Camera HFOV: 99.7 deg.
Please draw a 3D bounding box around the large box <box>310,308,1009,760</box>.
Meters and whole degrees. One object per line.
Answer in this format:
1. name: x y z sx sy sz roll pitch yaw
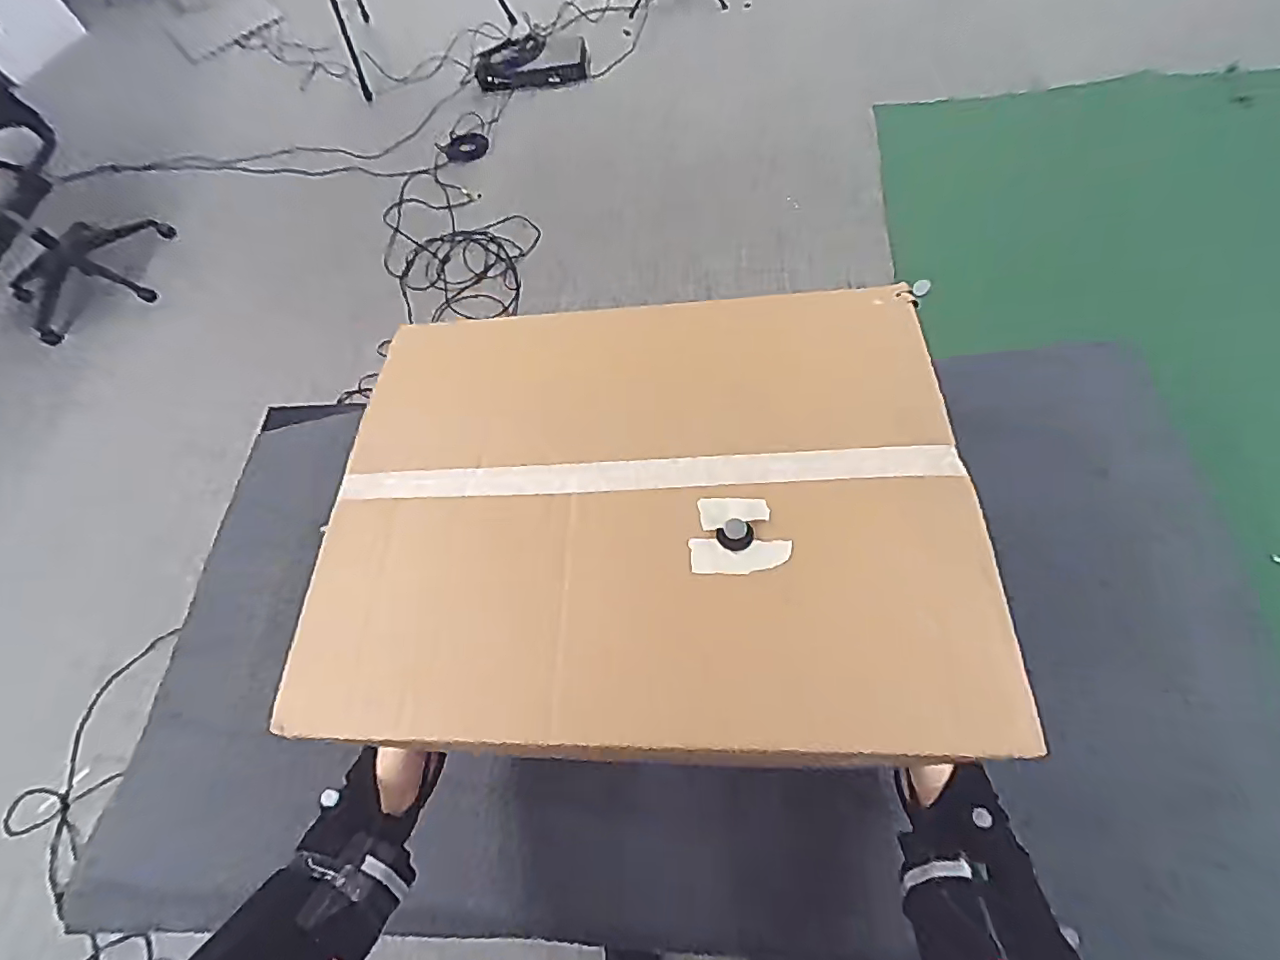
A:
1. large box: 0.016 0.080 0.502 0.408 0.320 0.320 -2 62 7
